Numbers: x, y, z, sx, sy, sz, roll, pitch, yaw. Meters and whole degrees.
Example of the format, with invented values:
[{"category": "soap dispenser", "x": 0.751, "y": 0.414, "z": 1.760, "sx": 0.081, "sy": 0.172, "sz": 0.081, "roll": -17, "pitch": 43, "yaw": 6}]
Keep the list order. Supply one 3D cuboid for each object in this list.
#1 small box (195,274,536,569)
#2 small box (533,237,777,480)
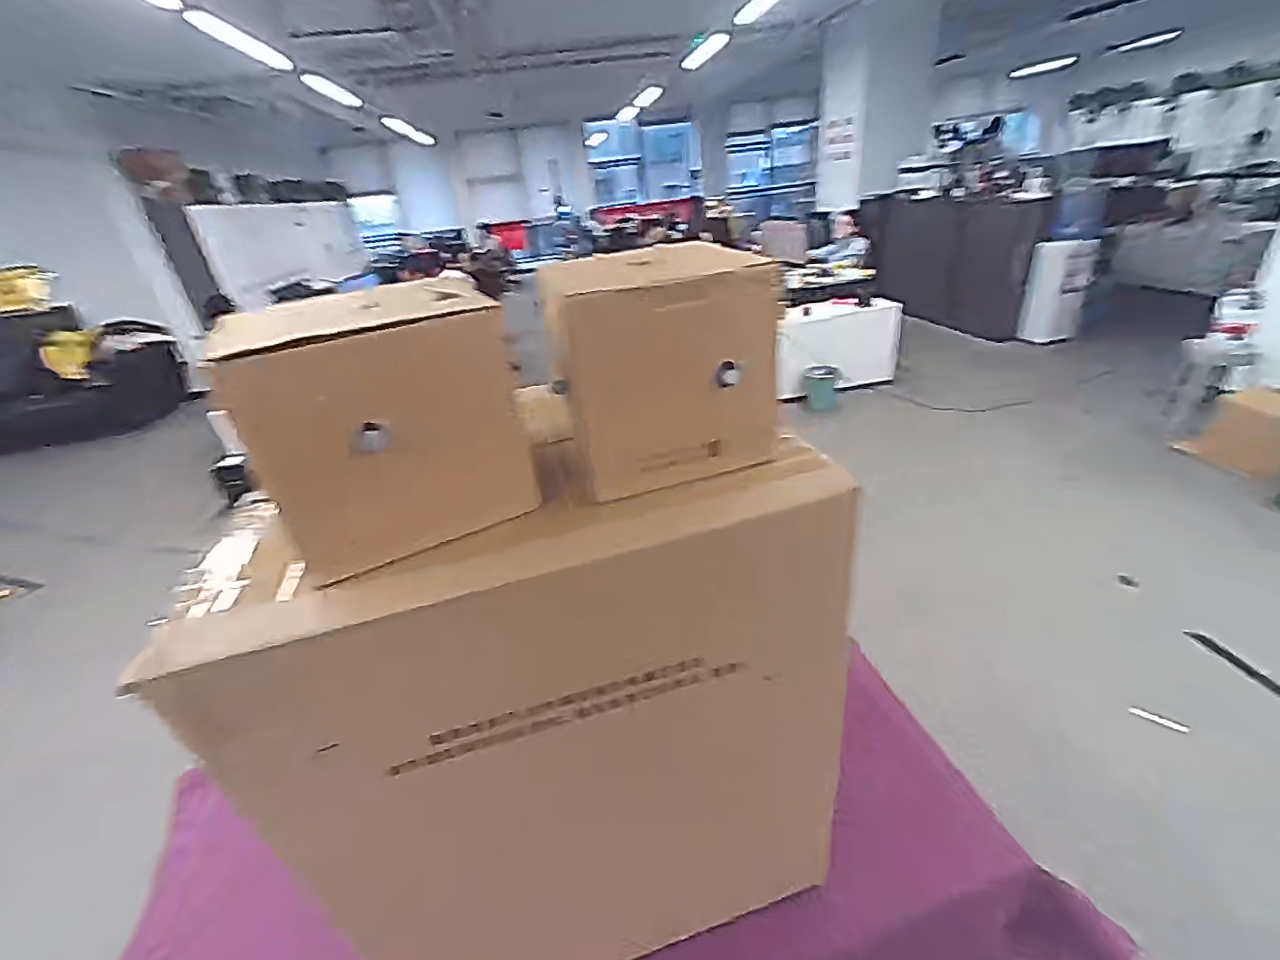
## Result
[{"category": "small box", "x": -0.202, "y": -0.056, "z": 0.432, "sx": 0.179, "sy": 0.176, "sz": 0.168, "roll": -20, "pitch": 33, "yaw": -23}, {"category": "small box", "x": 0.009, "y": -0.111, "z": 0.483, "sx": 0.168, "sy": 0.176, "sz": 0.179, "roll": -12, "pitch": 29, "yaw": -12}]
